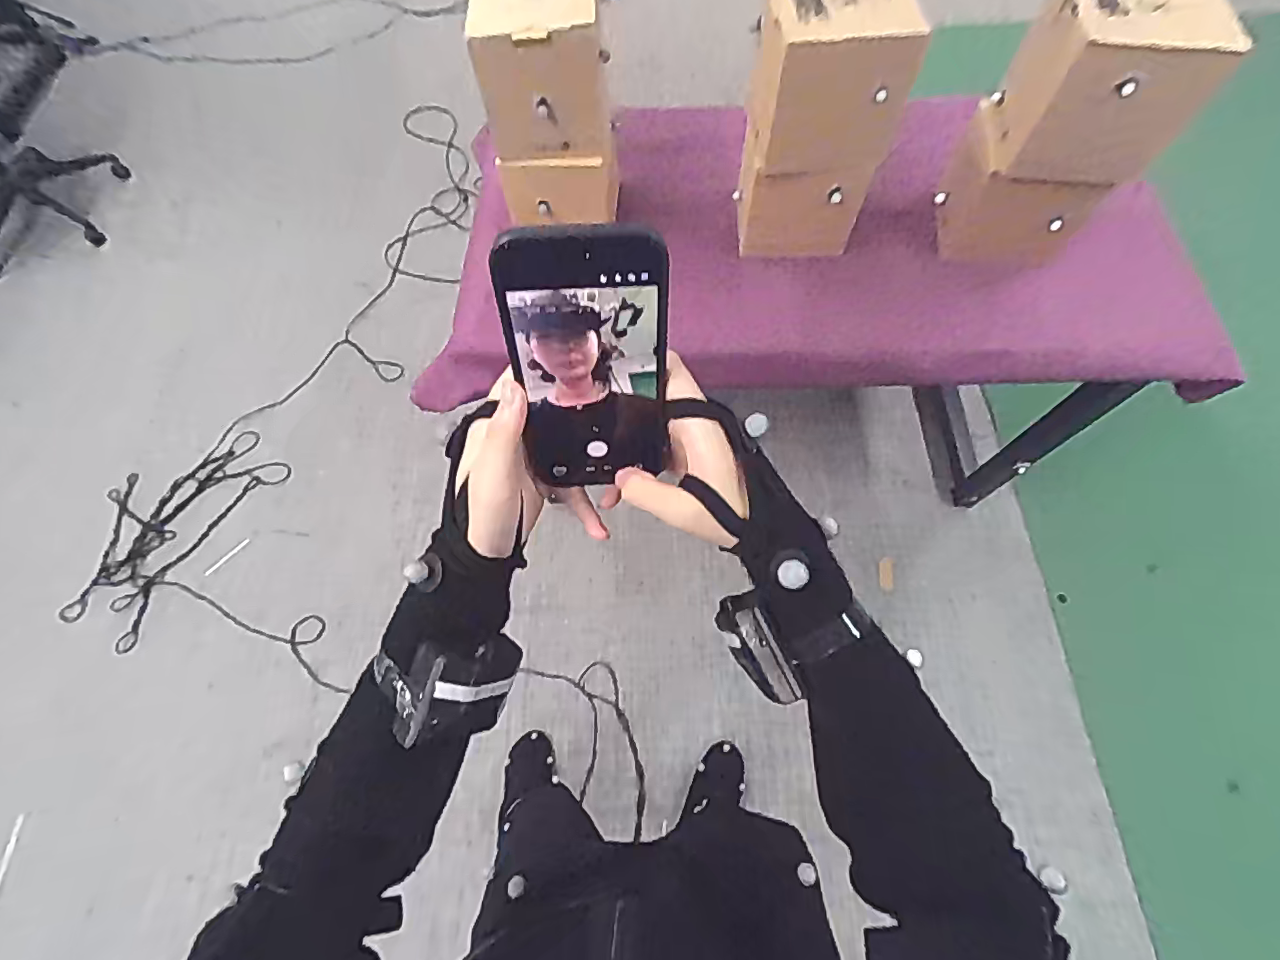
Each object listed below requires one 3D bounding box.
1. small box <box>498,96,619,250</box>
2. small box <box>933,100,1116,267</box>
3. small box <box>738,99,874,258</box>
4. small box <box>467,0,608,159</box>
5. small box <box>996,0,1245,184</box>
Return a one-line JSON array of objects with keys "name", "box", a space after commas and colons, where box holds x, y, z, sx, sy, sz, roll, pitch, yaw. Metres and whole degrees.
[{"name": "small box", "box": [-0.128, -0.516, 0.924, 0.168, 0.176, 0.179, 2, 66, 4]}, {"name": "small box", "box": [0.600, -0.467, 0.867, 0.179, 0.176, 0.168, 7, 66, 6]}, {"name": "small box", "box": [0.261, -0.489, 0.892, 0.179, 0.176, 0.168, 1, 66, 3]}, {"name": "small box", "box": [-0.135, -0.591, 0.778, 0.168, 0.176, 0.179, -3, 67, 1]}, {"name": "small box", "box": [0.601, -0.520, 0.712, 0.179, 0.176, 0.168, 7, 66, 5]}]
